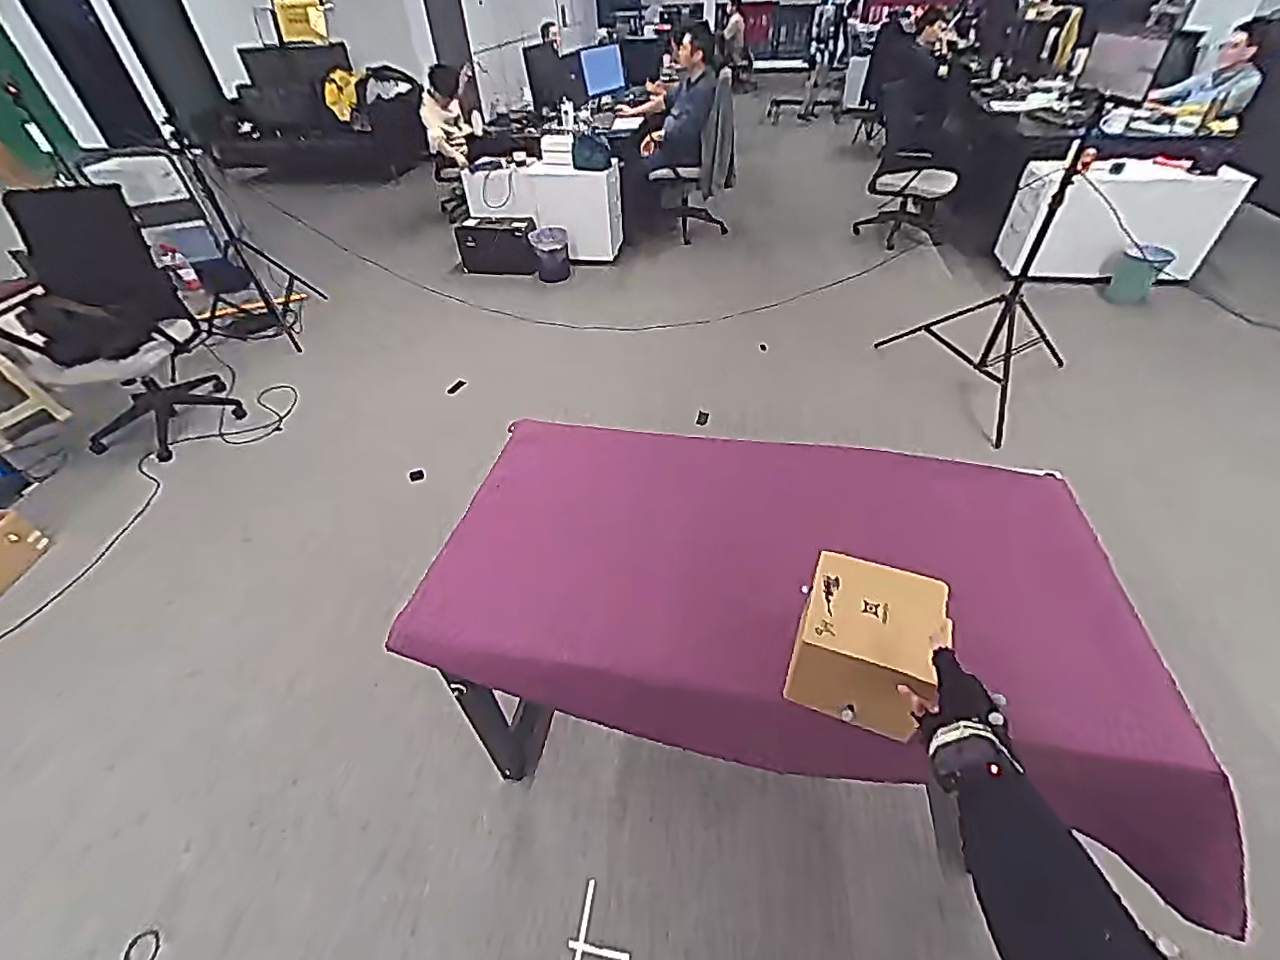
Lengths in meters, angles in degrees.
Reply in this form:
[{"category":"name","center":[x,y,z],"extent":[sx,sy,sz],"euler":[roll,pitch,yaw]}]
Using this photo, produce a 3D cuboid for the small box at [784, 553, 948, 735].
[{"category":"small box","center":[0.323,0.240,0.786],"extent":[0.179,0.176,0.168],"euler":[15,45,18]}]
